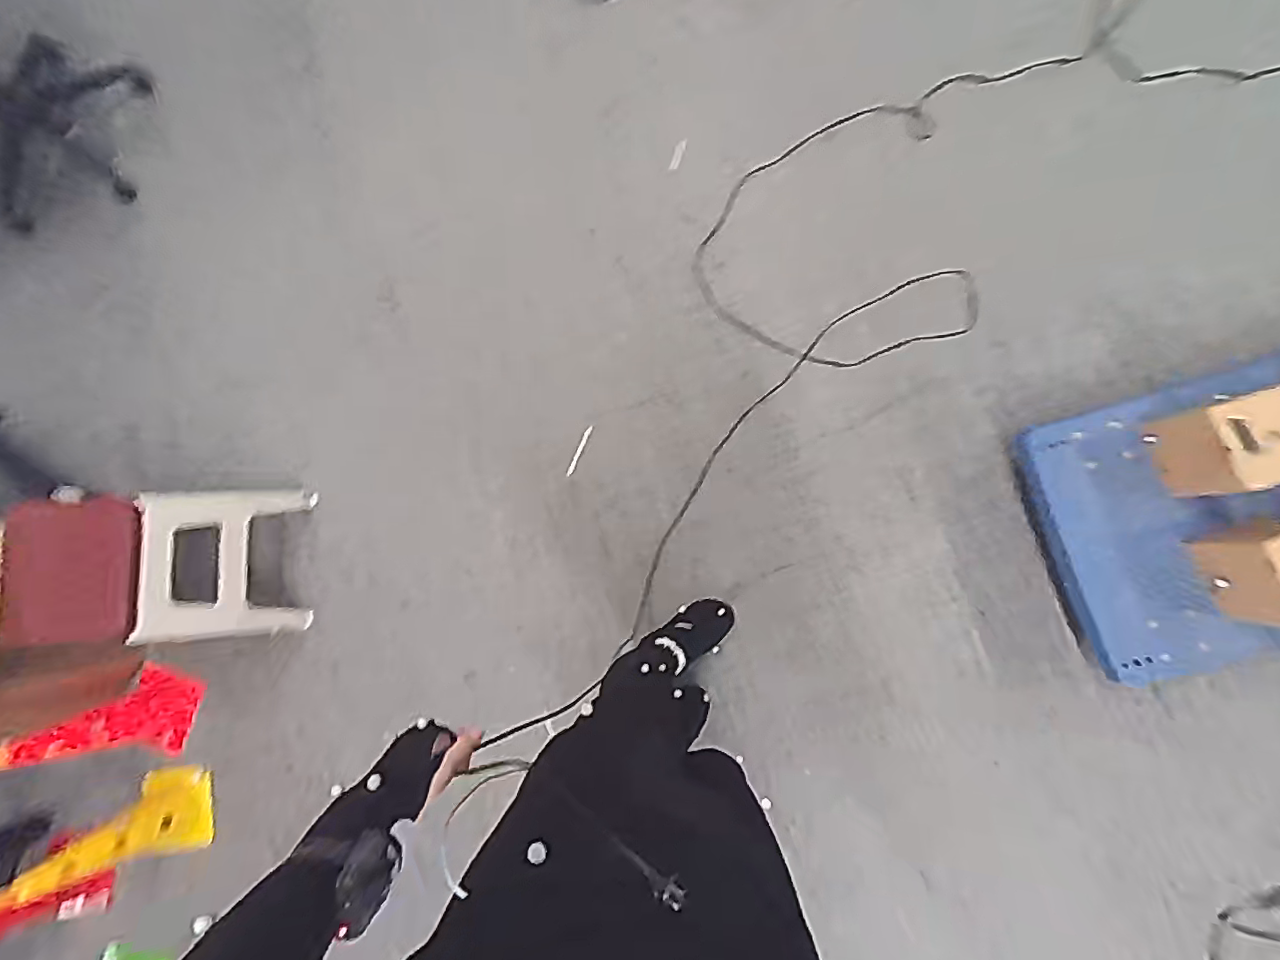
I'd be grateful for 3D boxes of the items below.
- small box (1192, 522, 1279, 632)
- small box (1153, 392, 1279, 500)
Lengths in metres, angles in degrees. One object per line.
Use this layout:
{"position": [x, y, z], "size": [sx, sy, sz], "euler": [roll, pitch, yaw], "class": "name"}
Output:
{"position": [1.241, 0.180, 1.030], "size": [0.179, 0.176, 0.168], "euler": [-20, 82, 3], "class": "small box"}
{"position": [1.173, -0.064, 1.062], "size": [0.179, 0.176, 0.168], "euler": [-17, 84, 3], "class": "small box"}
